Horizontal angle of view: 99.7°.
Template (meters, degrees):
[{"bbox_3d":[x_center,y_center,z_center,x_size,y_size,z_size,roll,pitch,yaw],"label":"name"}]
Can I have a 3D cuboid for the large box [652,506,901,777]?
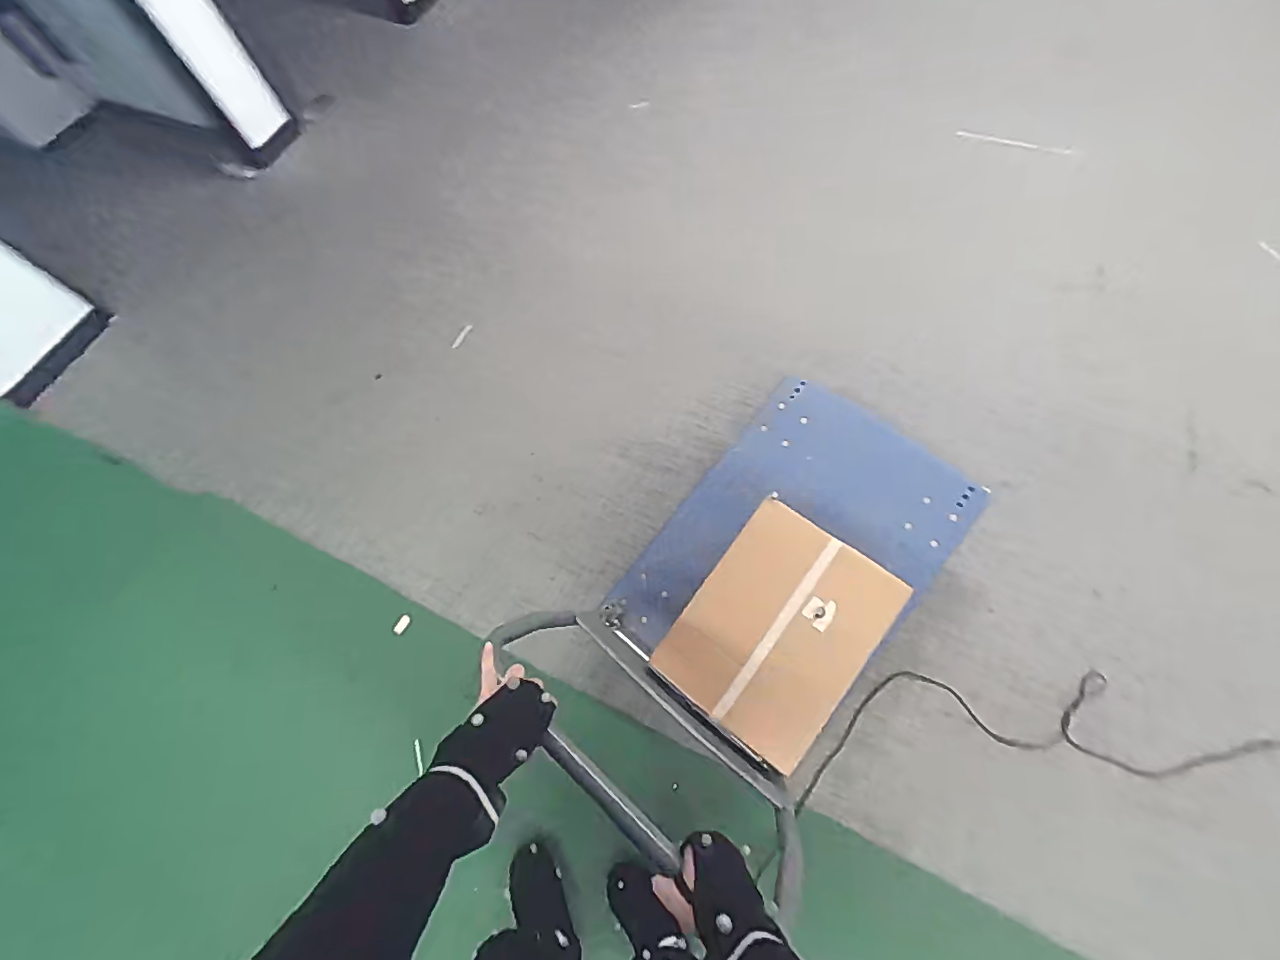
[{"bbox_3d":[0.277,0.333,1.162,0.320,0.320,0.408,35,81,17],"label":"large box"}]
